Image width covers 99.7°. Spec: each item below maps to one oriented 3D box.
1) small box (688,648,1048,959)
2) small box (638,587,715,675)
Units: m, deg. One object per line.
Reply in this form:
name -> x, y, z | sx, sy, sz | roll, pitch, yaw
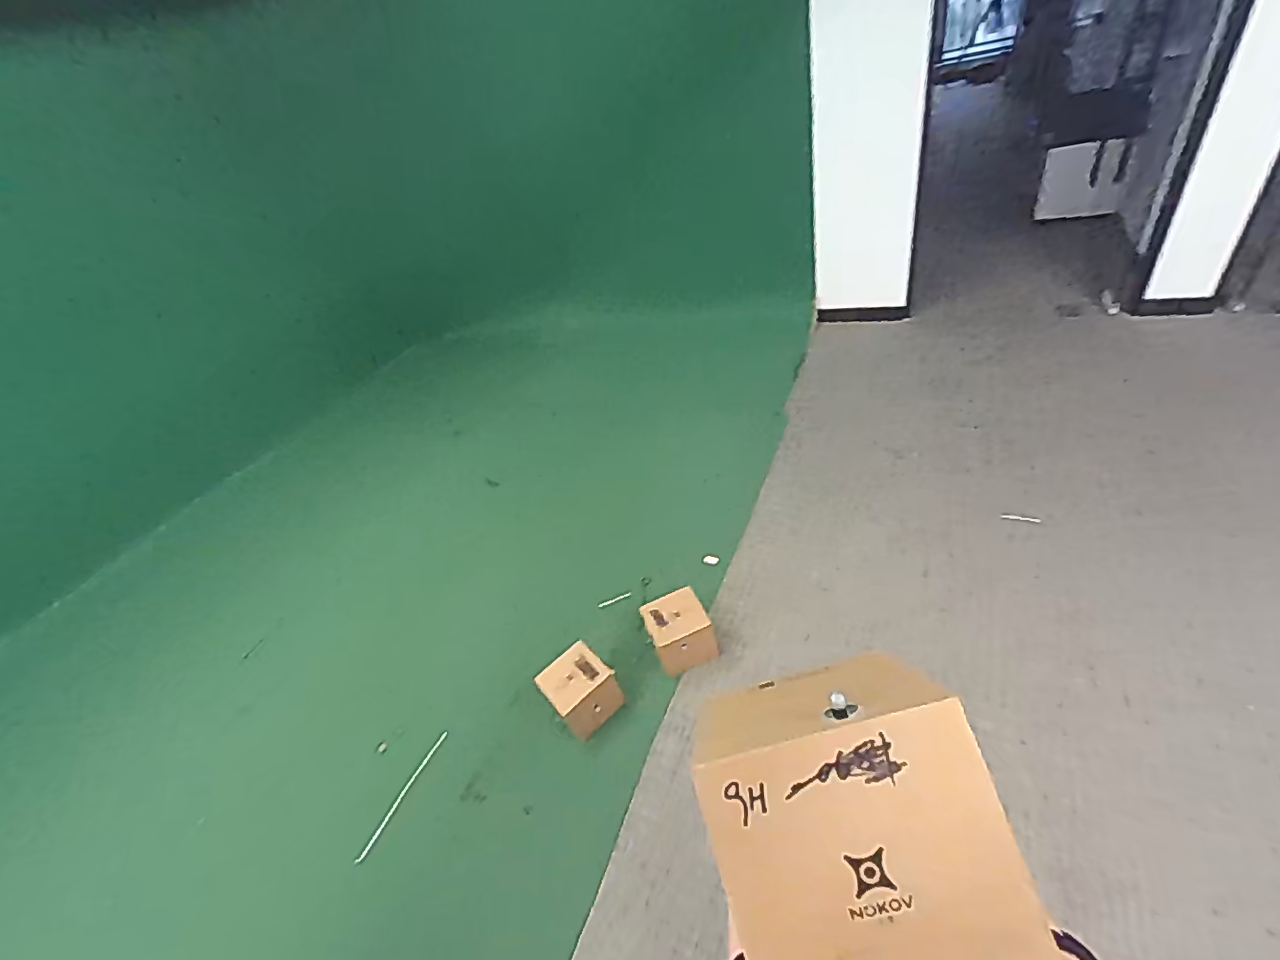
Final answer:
small box -> 0.141, 0.240, 0.389 | 0.168, 0.176, 0.179 | -17, 80, 6
small box -> 0.115, 0.471, 1.682 | 0.179, 0.176, 0.168 | -22, 39, -8
